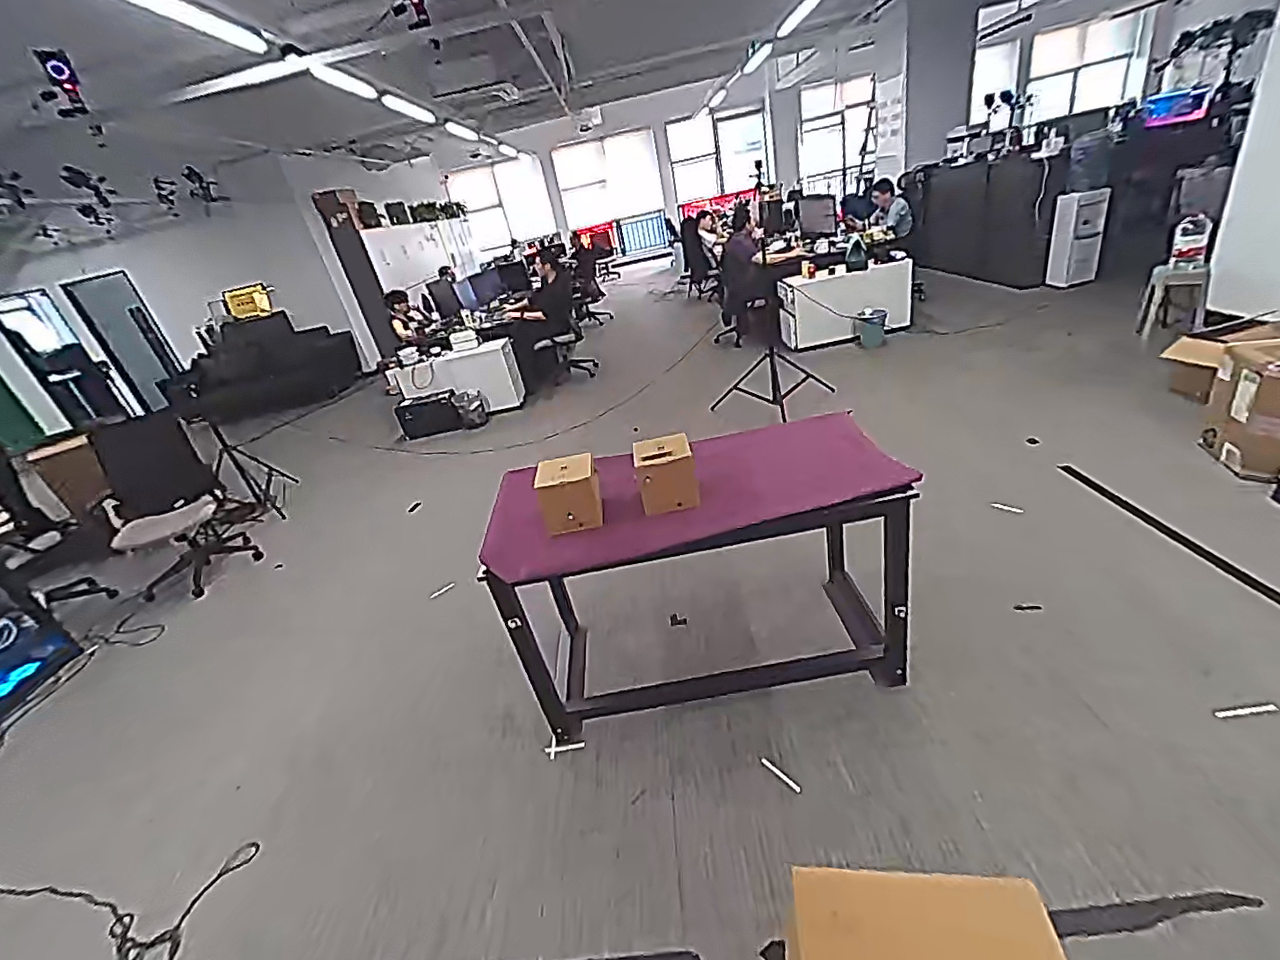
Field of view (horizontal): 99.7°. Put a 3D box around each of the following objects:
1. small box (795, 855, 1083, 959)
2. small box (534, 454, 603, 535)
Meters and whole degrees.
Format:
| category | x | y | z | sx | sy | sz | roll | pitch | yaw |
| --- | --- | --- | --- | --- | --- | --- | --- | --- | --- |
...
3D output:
| category | x | y | z | sx | sy | sz | roll | pitch | yaw |
| --- | --- | --- | --- | --- | --- | --- | --- | --- | --- |
| small box | 0.198 | 0.388 | 0.357 | 0.168 | 0.176 | 0.179 | -3 | 33 | 9 |
| small box | -0.209 | 0.043 | 1.620 | 0.168 | 0.176 | 0.179 | -11 | 27 | 1 |
